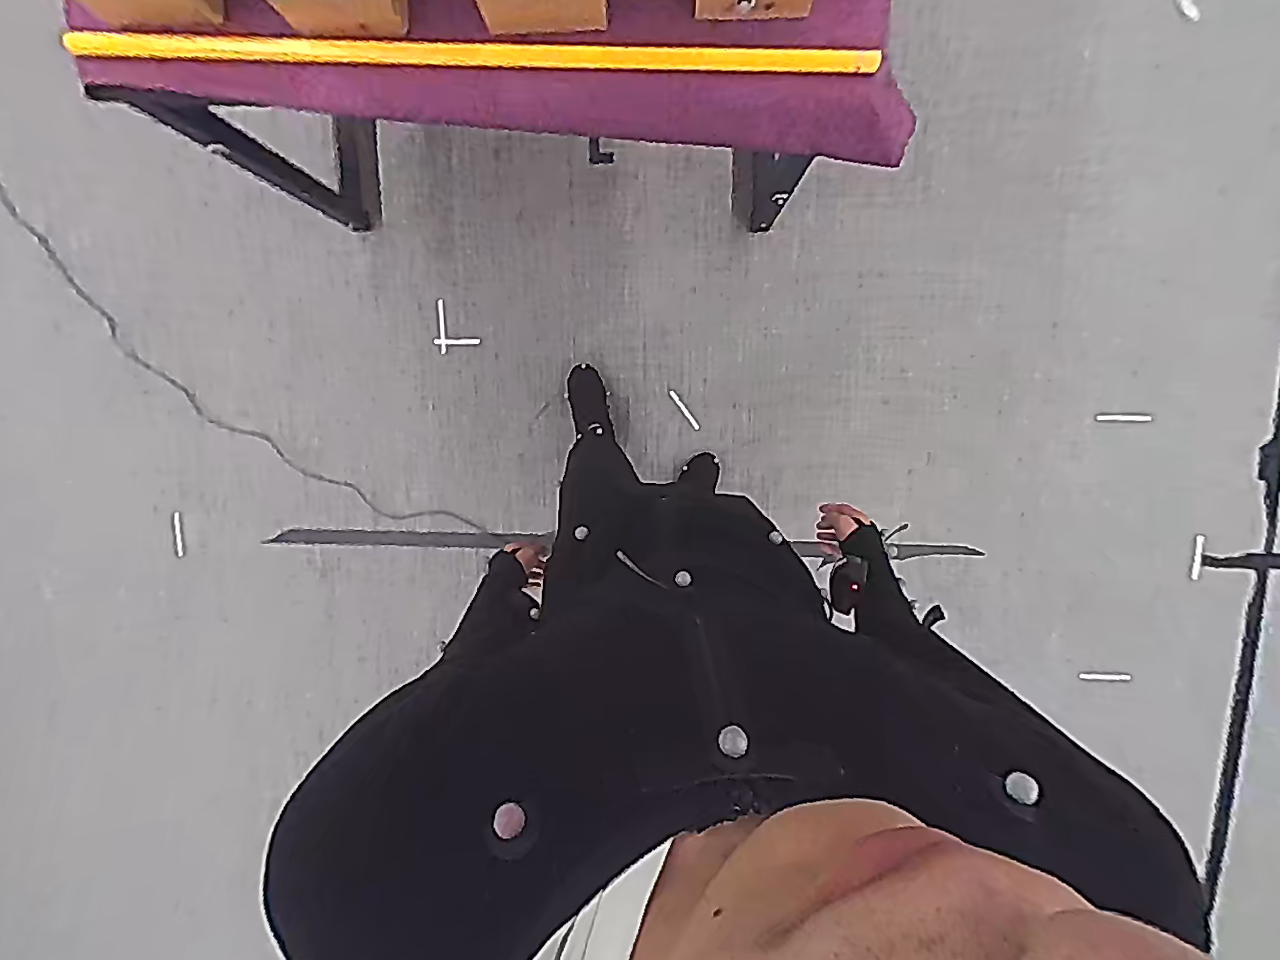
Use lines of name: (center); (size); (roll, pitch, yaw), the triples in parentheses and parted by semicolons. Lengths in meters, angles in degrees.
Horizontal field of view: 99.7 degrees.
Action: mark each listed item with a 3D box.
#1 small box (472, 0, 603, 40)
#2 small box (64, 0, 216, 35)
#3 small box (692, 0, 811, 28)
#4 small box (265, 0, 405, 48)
small box: (-0.146, -0.722, 0.711); (0.179, 0.176, 0.168); (-1, 96, 1)
small box: (-0.712, -0.740, 0.725); (0.179, 0.176, 0.168); (-1, 97, 1)
small box: (0.152, -0.738, 0.699); (0.168, 0.176, 0.179); (0, 96, 3)
small box: (-0.432, -0.726, 0.720); (0.168, 0.176, 0.179); (0, 98, 2)
